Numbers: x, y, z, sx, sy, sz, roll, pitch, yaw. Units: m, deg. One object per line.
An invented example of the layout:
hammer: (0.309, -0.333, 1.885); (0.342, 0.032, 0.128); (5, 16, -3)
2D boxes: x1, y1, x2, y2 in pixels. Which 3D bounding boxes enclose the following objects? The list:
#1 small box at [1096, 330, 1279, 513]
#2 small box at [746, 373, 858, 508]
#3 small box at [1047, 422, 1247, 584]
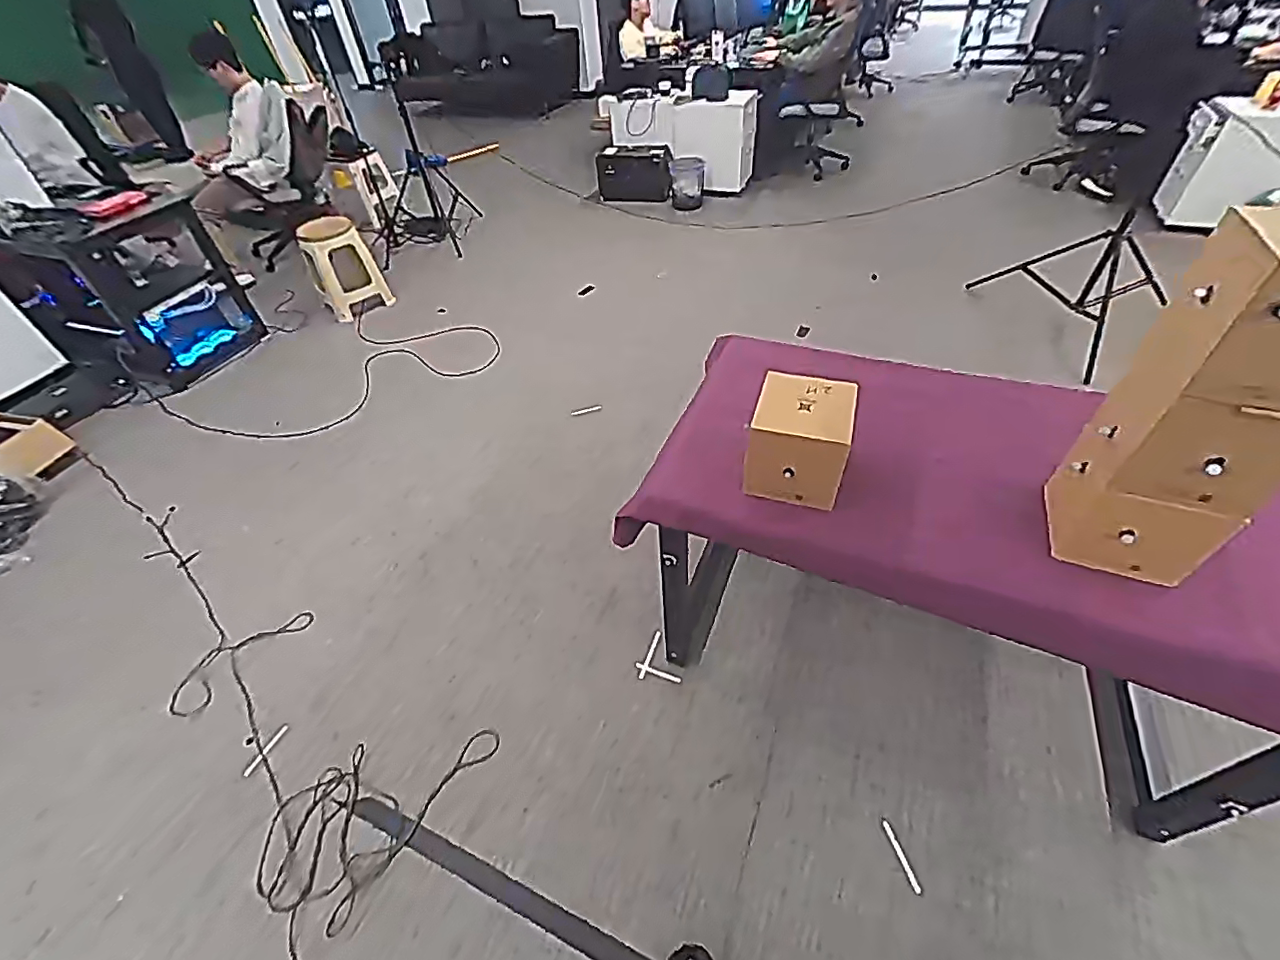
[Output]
small box: (0.775, -0.080, 0.748); (0.168, 0.176, 0.179); (15, 49, 19)
small box: (0.297, -0.073, 1.006); (0.168, 0.176, 0.179); (12, 47, 15)
small box: (0.784, 0.037, 0.861); (0.168, 0.176, 0.179); (15, 48, 19)
